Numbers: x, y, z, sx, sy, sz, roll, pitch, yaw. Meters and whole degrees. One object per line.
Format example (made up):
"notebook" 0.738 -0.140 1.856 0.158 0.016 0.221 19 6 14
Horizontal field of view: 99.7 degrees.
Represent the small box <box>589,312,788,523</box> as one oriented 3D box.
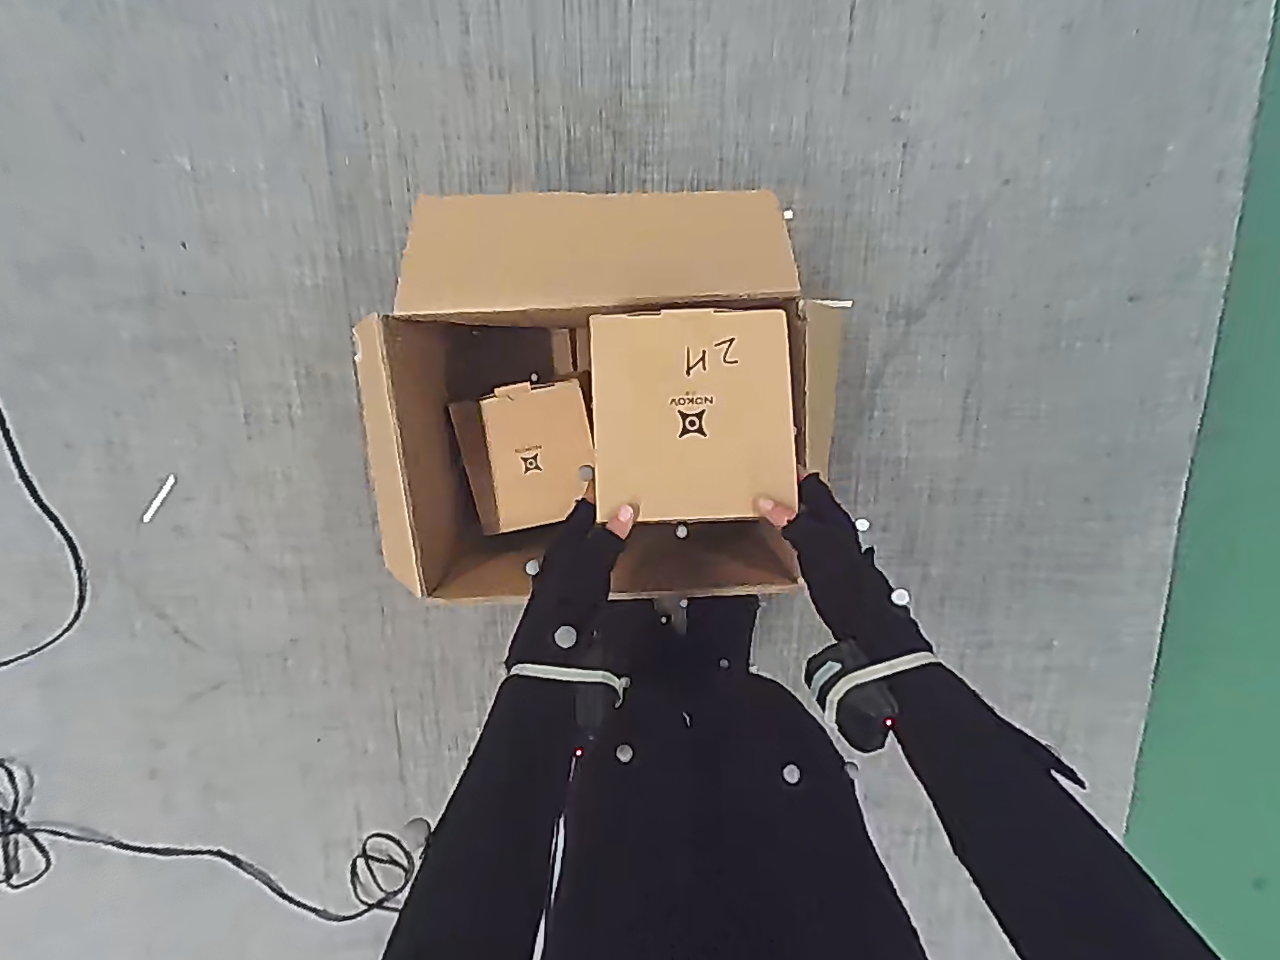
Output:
"small box" 0.037 -0.049 0.528 0.168 0.176 0.179 -1 86 -3
